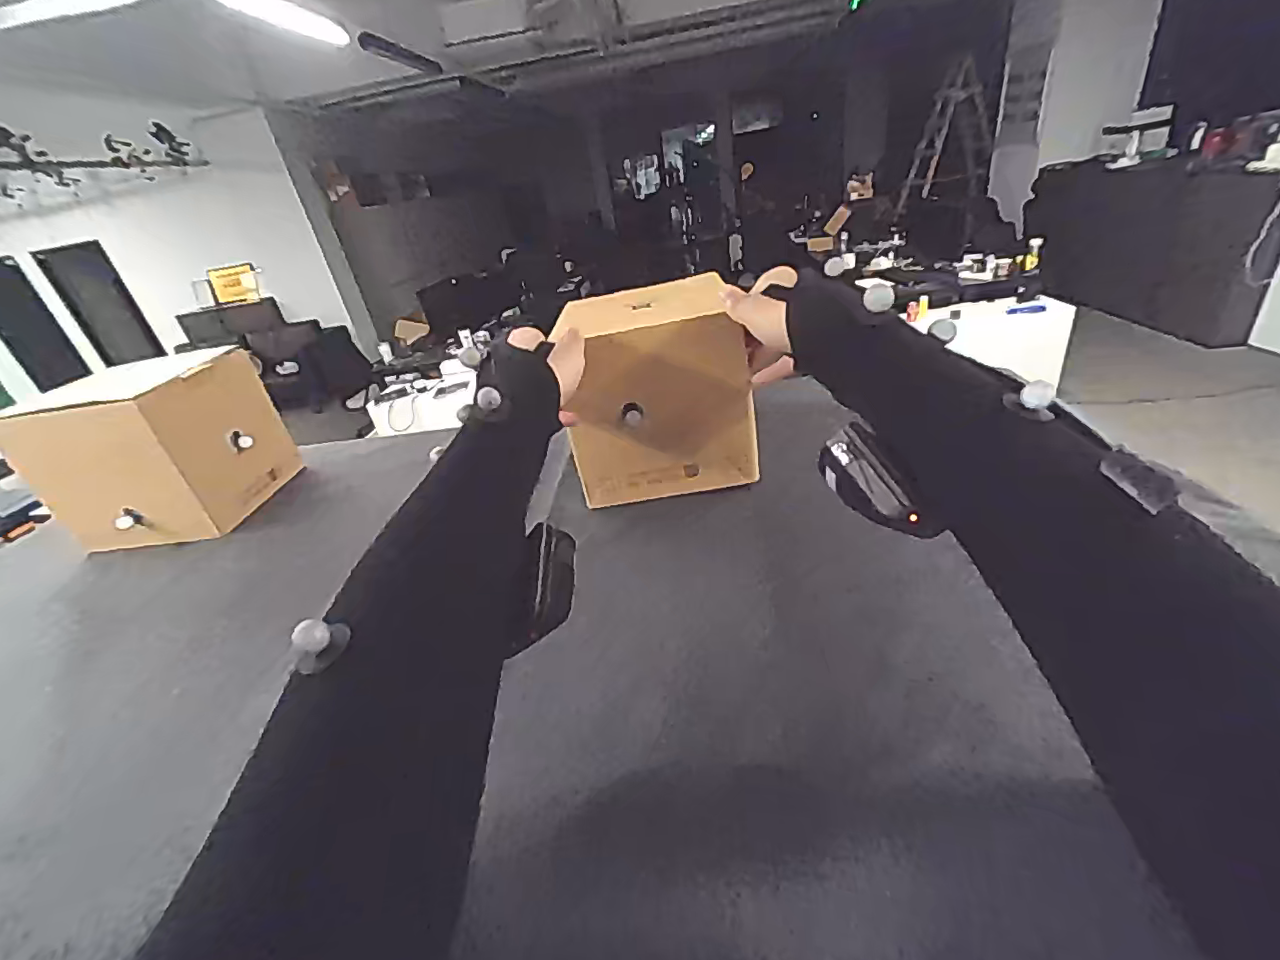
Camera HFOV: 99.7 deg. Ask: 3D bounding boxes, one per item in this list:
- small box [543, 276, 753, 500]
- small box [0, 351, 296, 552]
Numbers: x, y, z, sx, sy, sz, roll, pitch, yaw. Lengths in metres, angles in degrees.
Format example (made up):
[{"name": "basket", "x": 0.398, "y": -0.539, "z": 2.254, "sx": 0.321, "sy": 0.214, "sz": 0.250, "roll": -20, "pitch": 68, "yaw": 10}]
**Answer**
[{"name": "small box", "x": 0.014, "y": -0.090, "z": 0.545, "sx": 0.168, "sy": 0.176, "sz": 0.179, "roll": -9, "pitch": 28, "yaw": 4}, {"name": "small box", "x": -0.550, "y": -0.034, "z": 0.627, "sx": 0.179, "sy": 0.176, "sz": 0.168, "roll": -6, "pitch": 30, "yaw": 5}]
